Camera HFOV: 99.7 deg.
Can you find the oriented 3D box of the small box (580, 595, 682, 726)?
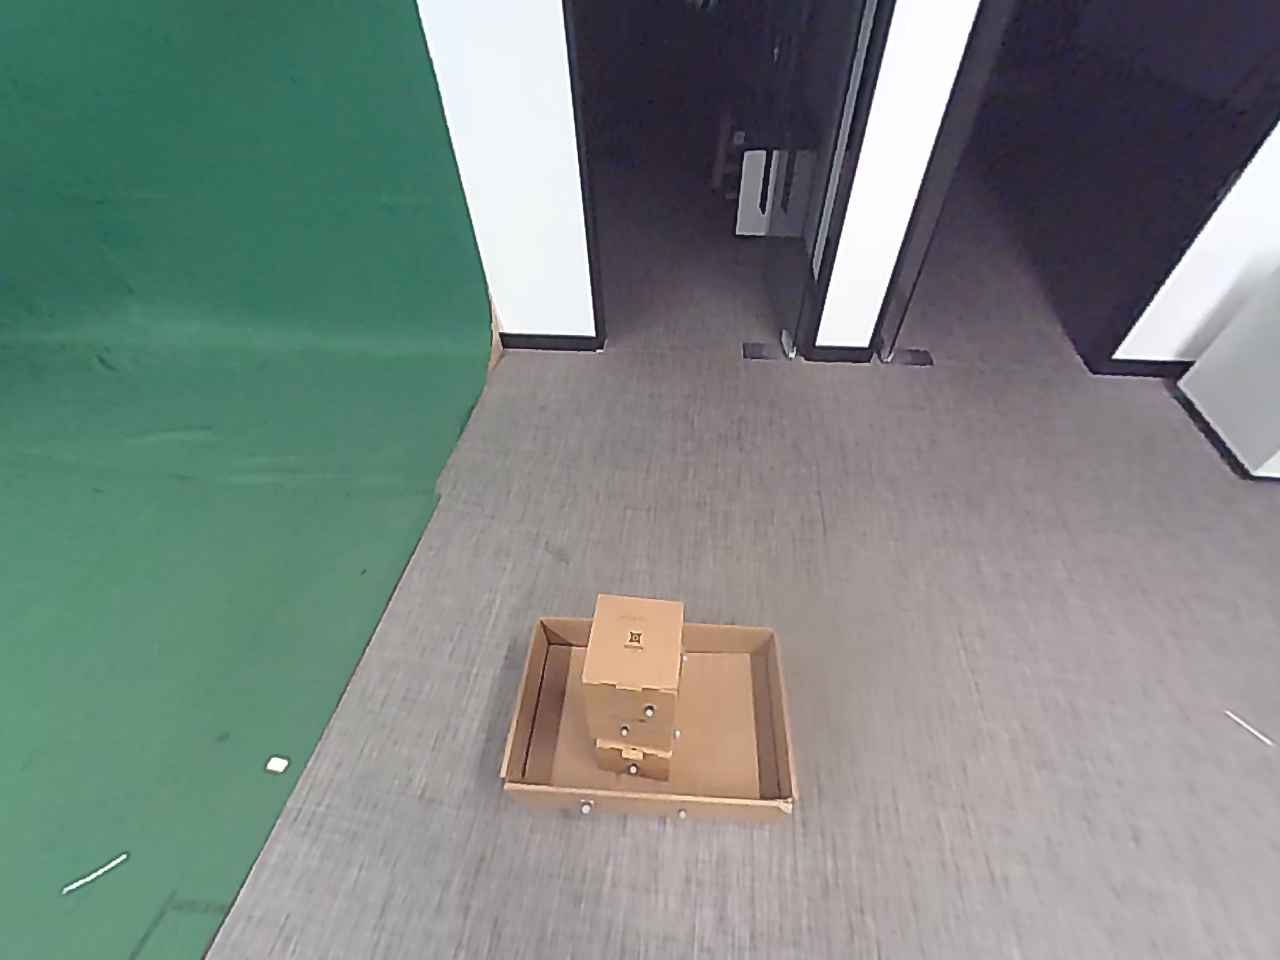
[{"bbox_3d":[-0.011,0.343,1.021,0.168,0.176,0.179,6,45,4],"label":"small box"}]

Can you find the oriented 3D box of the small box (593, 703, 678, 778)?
[{"bbox_3d":[-0.003,0.568,1.256,0.168,0.176,0.179,7,48,7],"label":"small box"}]

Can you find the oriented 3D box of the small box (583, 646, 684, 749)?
[{"bbox_3d":[-0.008,0.448,1.144,0.179,0.176,0.168,8,46,10],"label":"small box"}]
